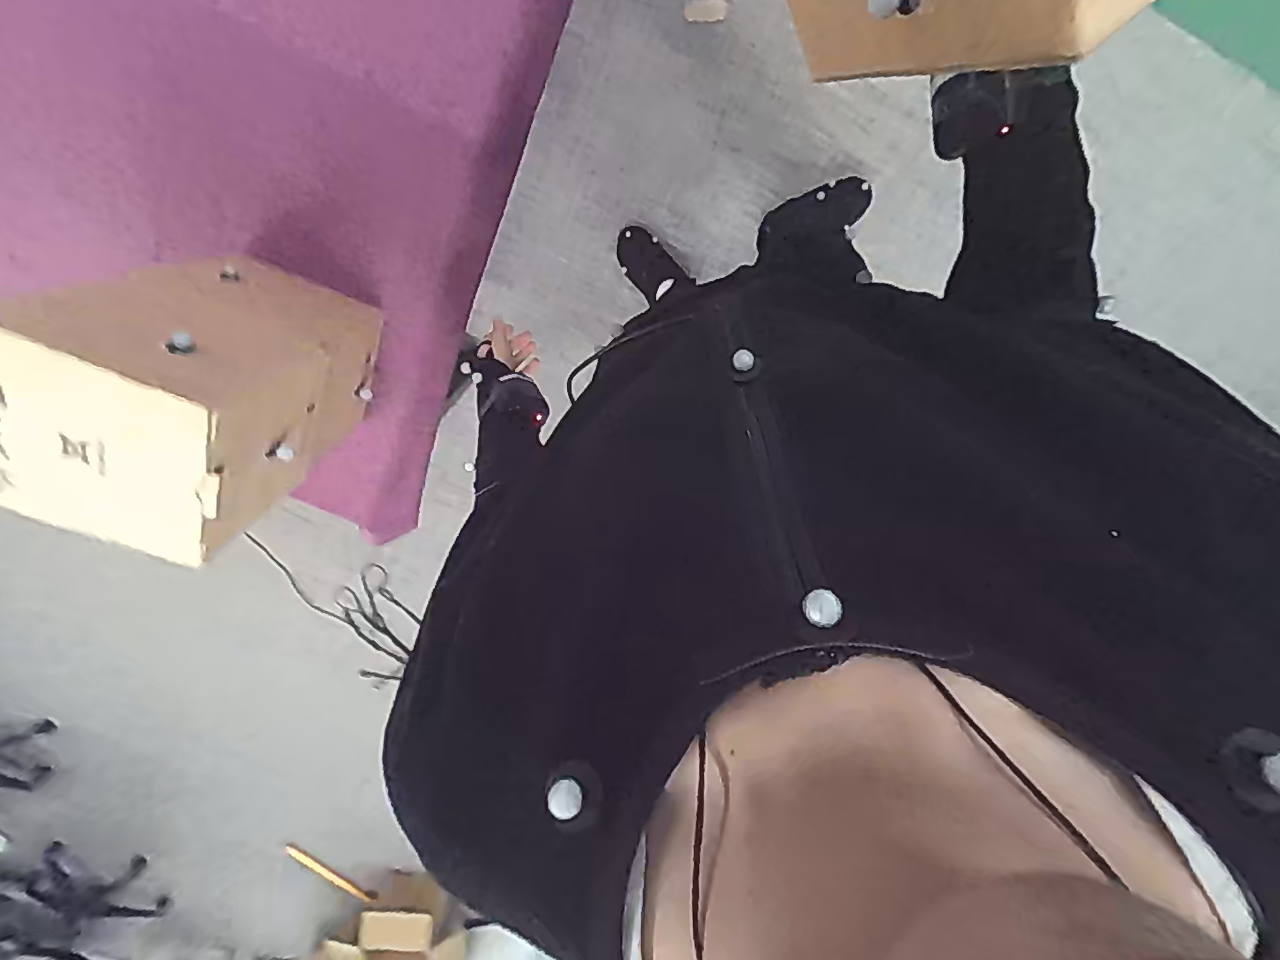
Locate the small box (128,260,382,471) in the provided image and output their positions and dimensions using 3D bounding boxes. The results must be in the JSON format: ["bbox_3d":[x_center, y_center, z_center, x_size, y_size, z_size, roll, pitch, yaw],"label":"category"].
[{"bbox_3d":[-0.433,-0.139,0.626,0.179,0.176,0.168,21,116,-11],"label":"small box"}]

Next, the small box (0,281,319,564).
[{"bbox_3d":[-0.423,-0.060,0.482,0.179,0.176,0.168,22,116,-12],"label":"small box"}]
